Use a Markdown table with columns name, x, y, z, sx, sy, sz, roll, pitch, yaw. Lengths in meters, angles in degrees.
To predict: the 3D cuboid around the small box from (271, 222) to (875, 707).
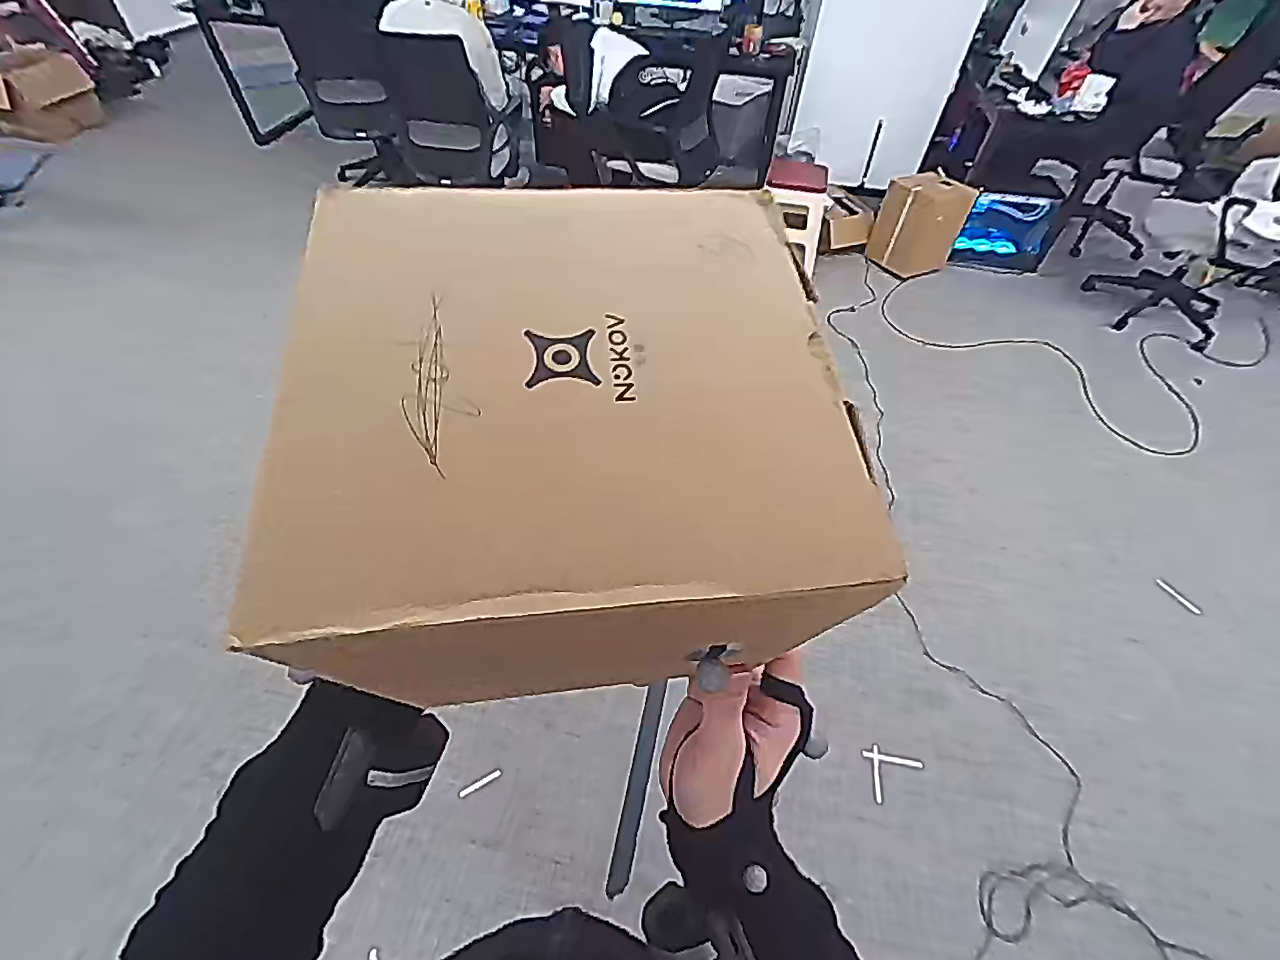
| name | x | y | z | sx | sy | sz | roll | pitch | yaw |
| --- | --- | --- | --- | --- | --- | --- | --- | --- | --- |
| small box | -0.029 | 0.005 | 0.259 | 0.179 | 0.176 | 0.168 | -5 | 62 | -7 |
